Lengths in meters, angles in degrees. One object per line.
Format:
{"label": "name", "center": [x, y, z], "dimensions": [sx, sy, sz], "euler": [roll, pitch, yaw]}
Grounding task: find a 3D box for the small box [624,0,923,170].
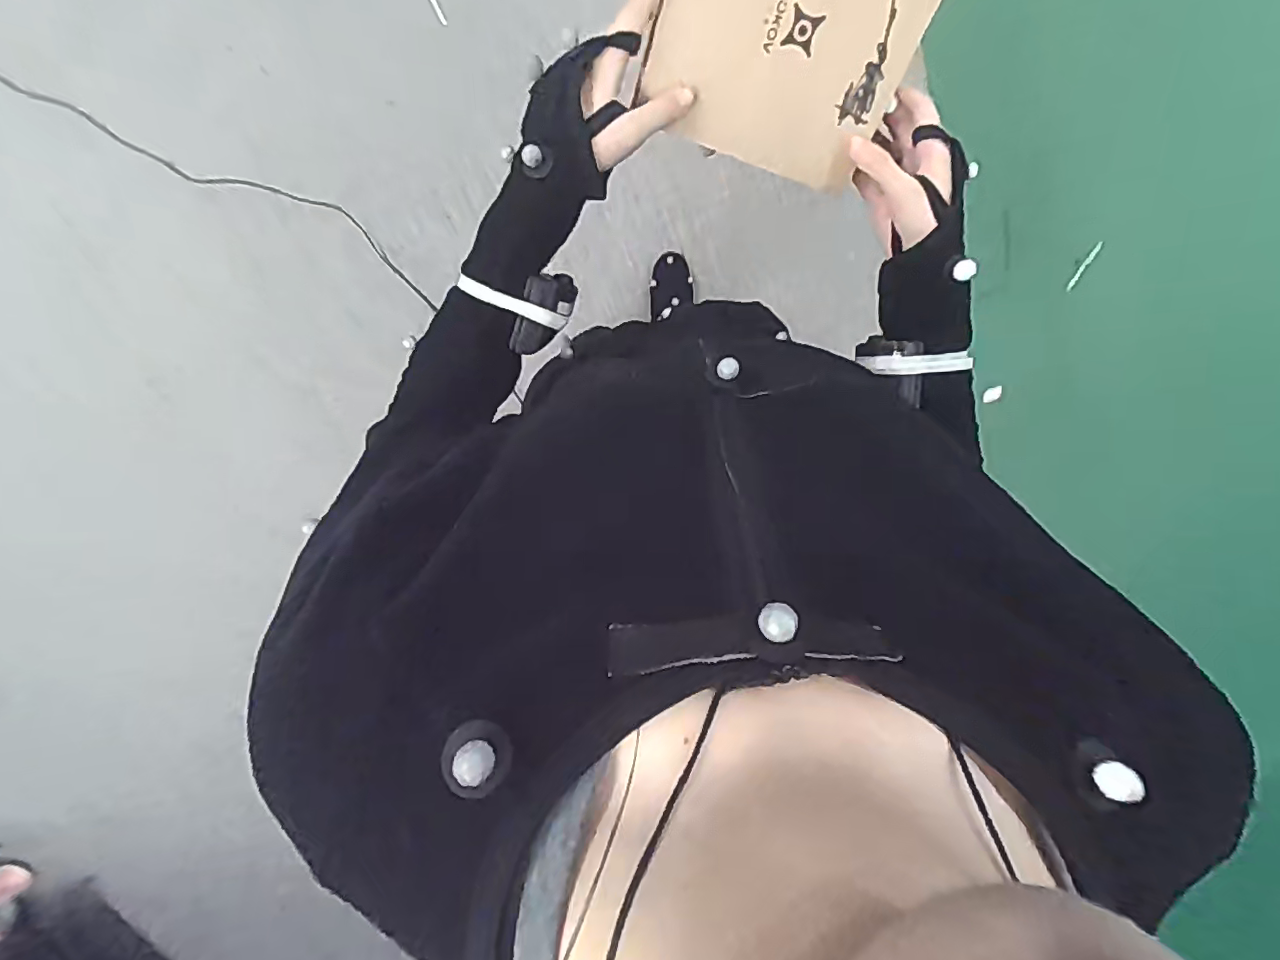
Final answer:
{"label": "small box", "center": [0.096, -0.365, 0.410], "dimensions": [0.179, 0.176, 0.168], "euler": [14, 129, -11]}
